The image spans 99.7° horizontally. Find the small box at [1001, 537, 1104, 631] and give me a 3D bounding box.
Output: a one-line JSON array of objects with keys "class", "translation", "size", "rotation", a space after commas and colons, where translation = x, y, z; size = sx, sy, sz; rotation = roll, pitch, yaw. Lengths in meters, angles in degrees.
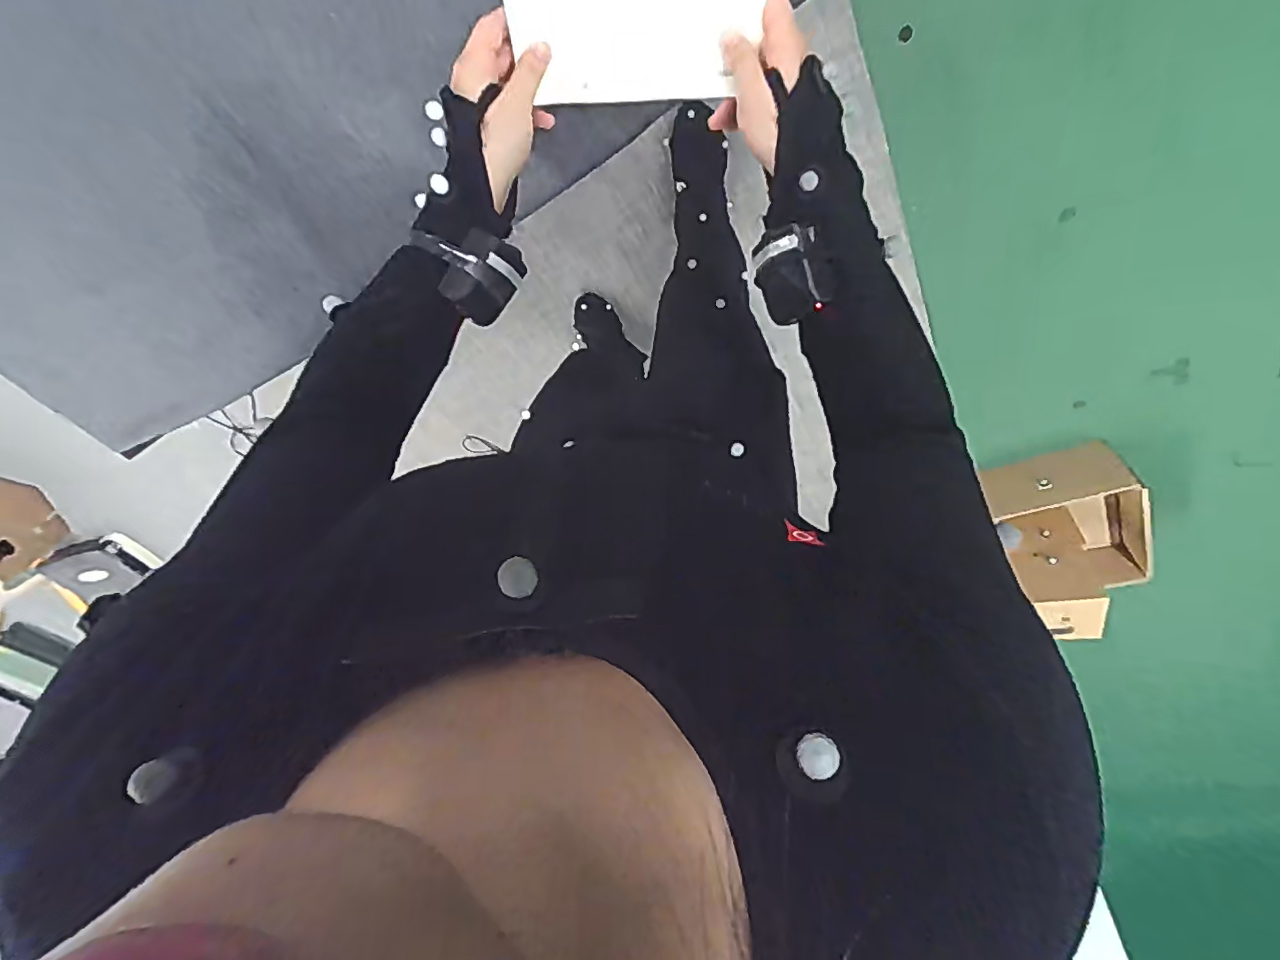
[{"class": "small box", "translation": [1.066, 0.272, 1.413], "size": [0.168, 0.176, 0.179], "rotation": [-11, 130, 22]}]

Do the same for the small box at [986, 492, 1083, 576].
[{"class": "small box", "translation": [1.096, 0.152, 1.522], "size": [0.179, 0.176, 0.168], "rotation": [-8, 132, 20]}]
